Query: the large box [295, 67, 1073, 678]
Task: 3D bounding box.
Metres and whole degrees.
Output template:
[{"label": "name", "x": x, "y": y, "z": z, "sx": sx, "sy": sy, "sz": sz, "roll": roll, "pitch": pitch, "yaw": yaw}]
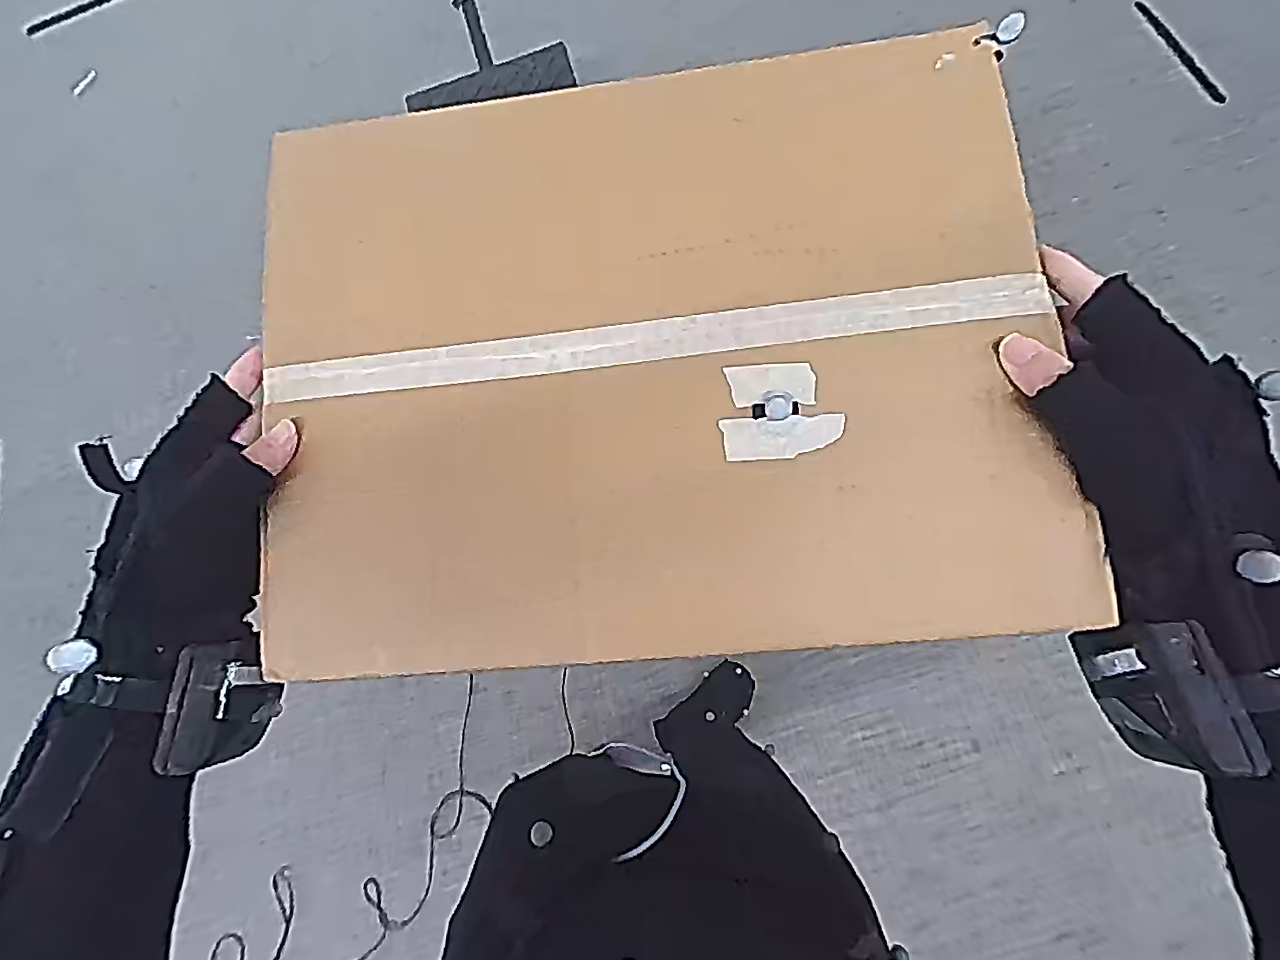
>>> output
[{"label": "large box", "x": 0.011, "y": -0.043, "z": 0.445, "sx": 0.408, "sy": 0.320, "sz": 0.320, "roll": -6, "pitch": 81, "yaw": 4}]
